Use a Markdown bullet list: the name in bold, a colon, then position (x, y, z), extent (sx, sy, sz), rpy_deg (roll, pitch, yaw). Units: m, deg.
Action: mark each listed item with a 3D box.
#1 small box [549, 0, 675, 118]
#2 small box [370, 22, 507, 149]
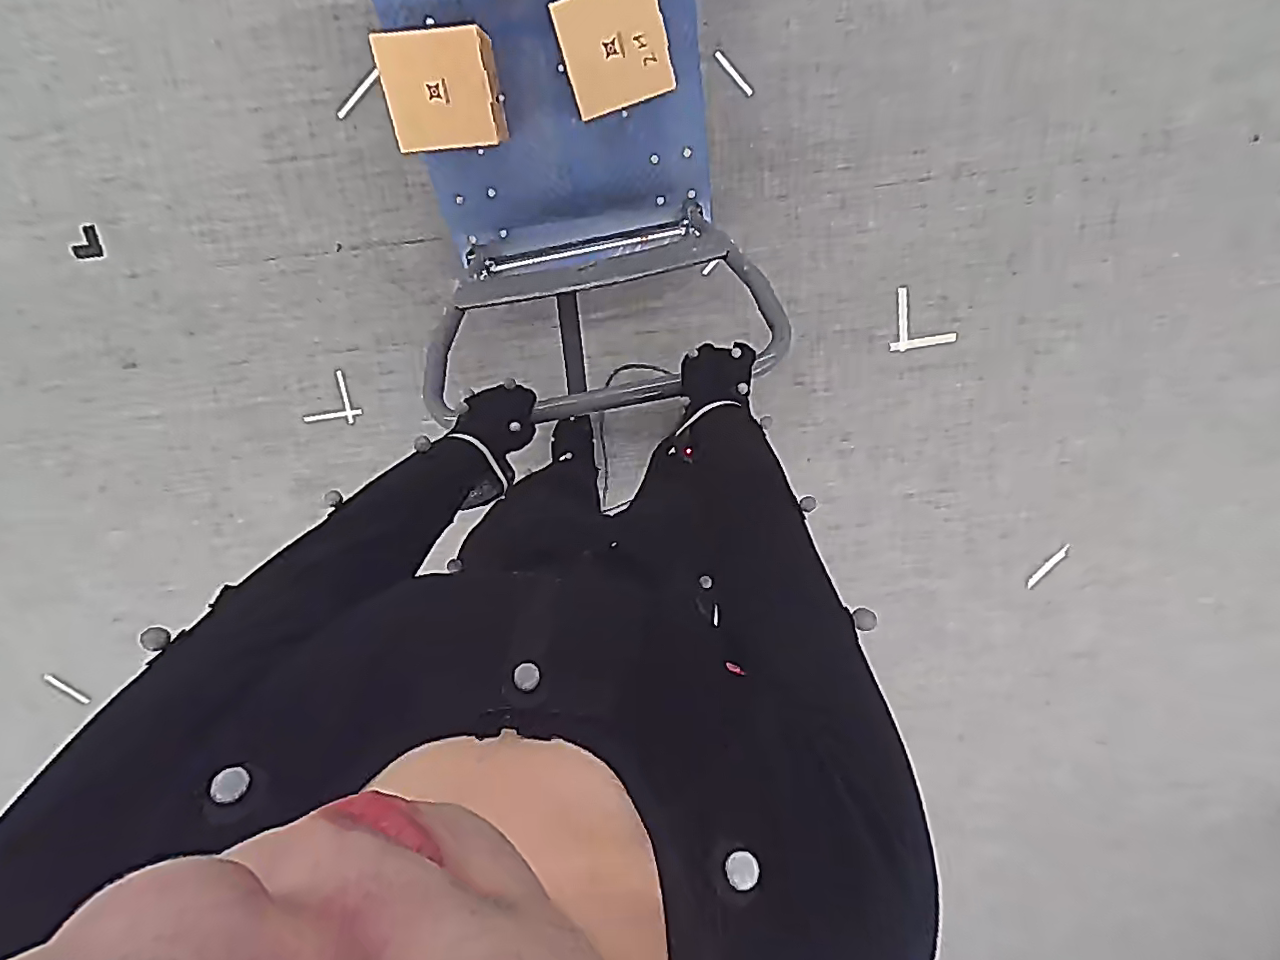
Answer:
- **small box**: position (-0.048, -0.765, 0.963), extent (0.179, 0.176, 0.168), rpy_deg (-16, 124, 5)
- **small box**: position (-0.349, -0.700, 0.975), extent (0.179, 0.176, 0.168), rpy_deg (-8, 124, -3)
